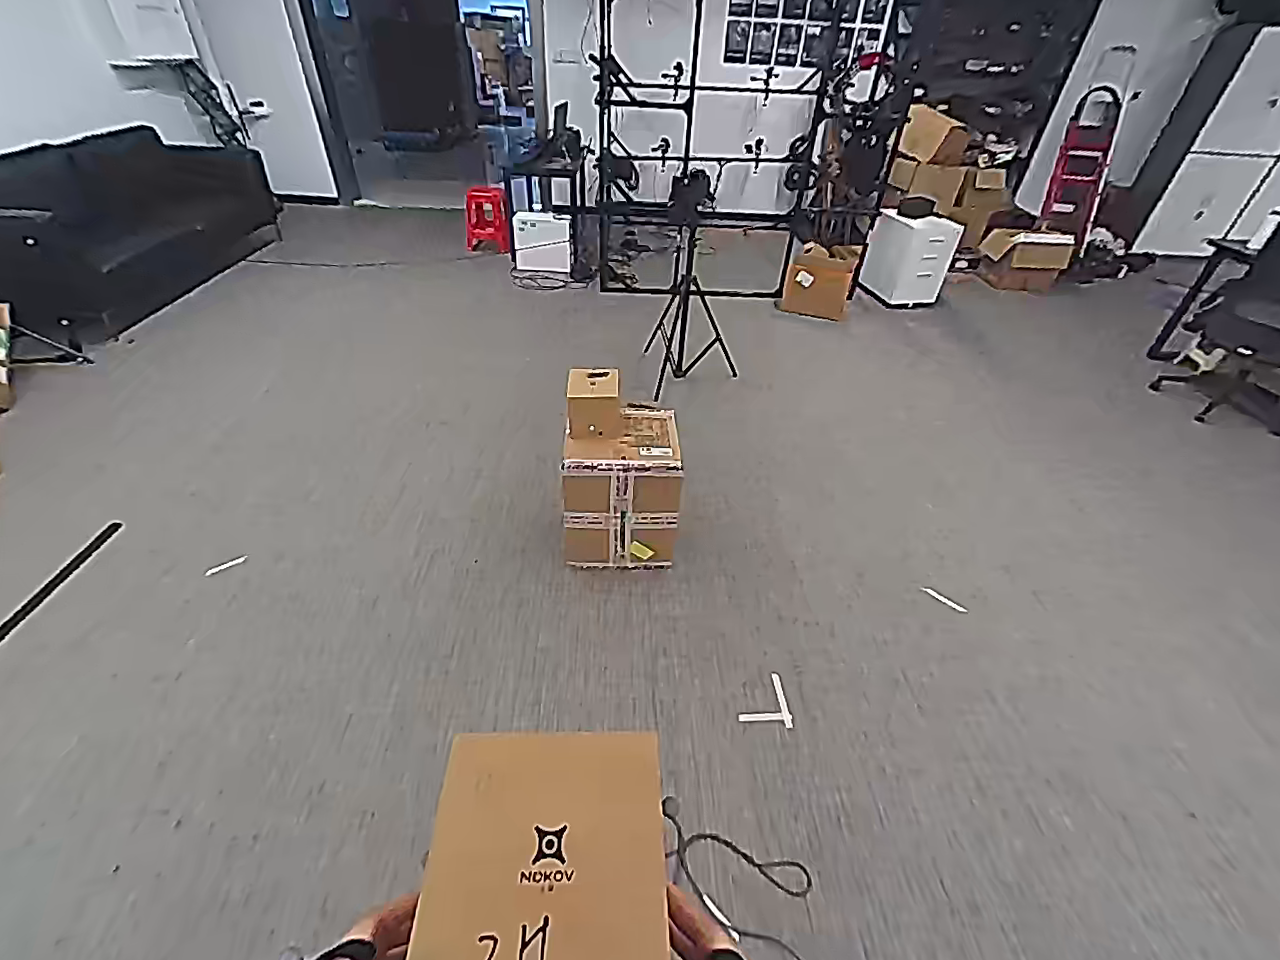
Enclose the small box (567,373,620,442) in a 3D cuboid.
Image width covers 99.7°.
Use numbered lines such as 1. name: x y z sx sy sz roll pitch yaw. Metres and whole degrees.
1. small box: -0.154 -0.248 1.832 0.168 0.176 0.179 -1 42 -2
